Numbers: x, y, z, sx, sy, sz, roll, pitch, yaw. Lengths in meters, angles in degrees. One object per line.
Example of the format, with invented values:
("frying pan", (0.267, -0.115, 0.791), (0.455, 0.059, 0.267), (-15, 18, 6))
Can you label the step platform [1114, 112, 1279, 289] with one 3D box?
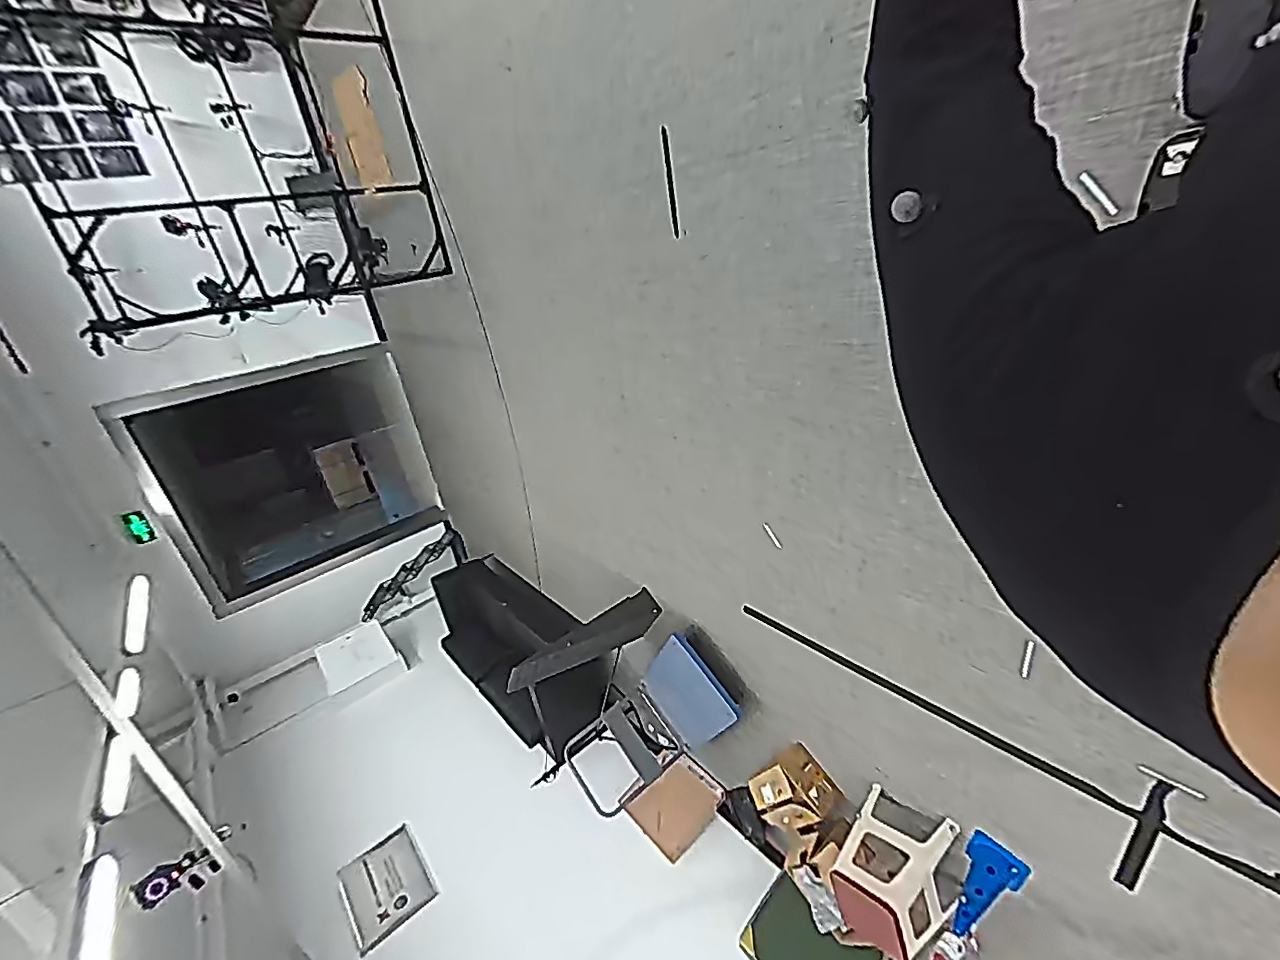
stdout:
("step platform", (1.231, -0.481, 0.883), (0.684, 0.204, 0.286), (19, 126, 50))
